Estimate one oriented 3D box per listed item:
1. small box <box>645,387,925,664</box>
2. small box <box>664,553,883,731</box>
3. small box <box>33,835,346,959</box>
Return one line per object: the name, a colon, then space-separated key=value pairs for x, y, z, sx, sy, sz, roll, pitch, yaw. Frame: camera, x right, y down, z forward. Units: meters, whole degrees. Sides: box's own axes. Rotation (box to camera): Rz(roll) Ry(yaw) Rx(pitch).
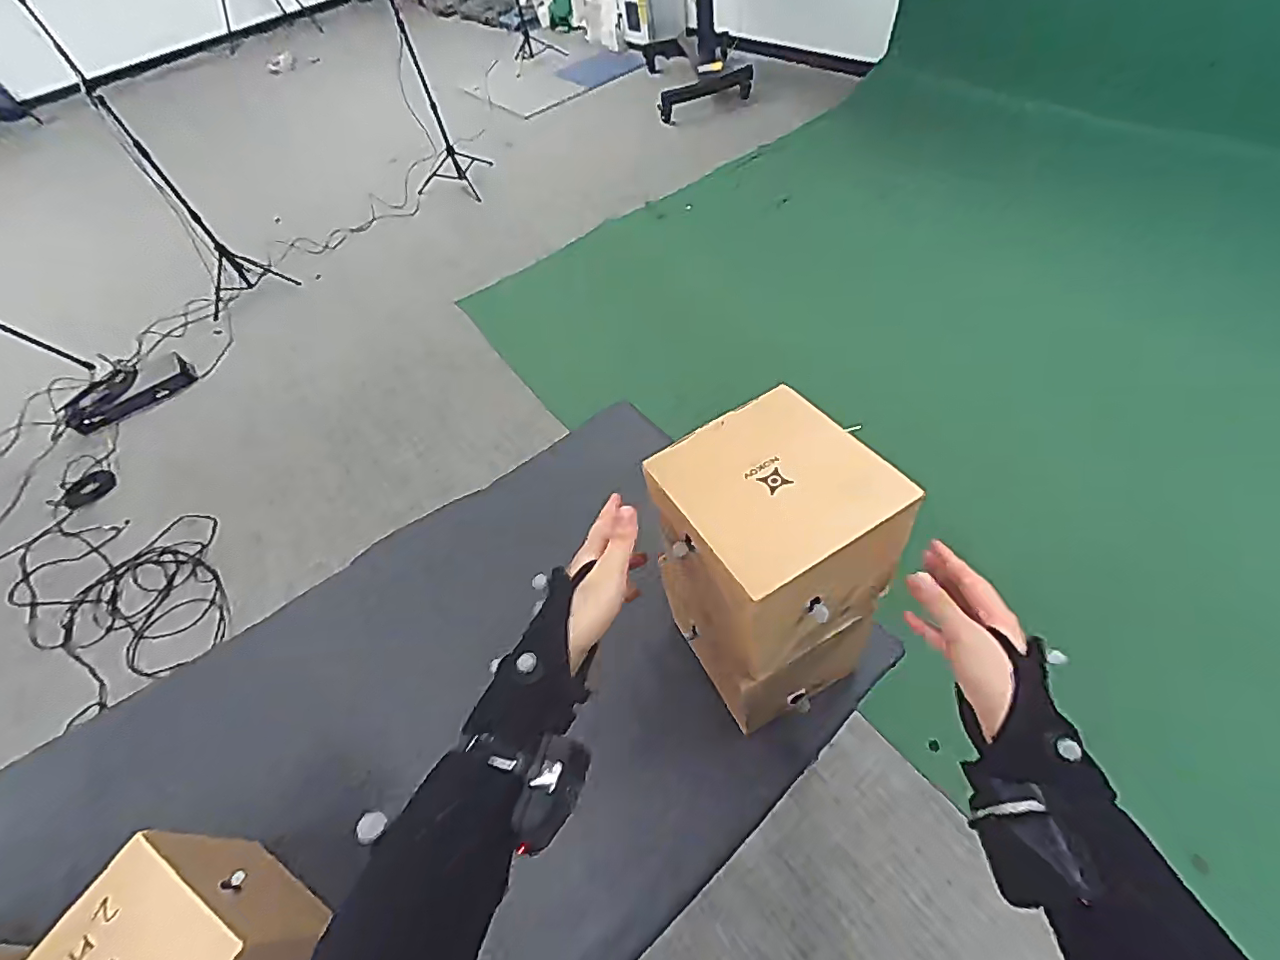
small box: x=0.129 y=0.050 z=0.515 sx=0.168 sy=0.176 sz=0.179 roll=-29 pitch=50 yaw=-11
small box: x=0.147 y=0.159 z=0.635 sx=0.168 sy=0.176 sz=0.179 roll=-28 pitch=51 yaw=-9
small box: x=-0.426 y=0.470 z=0.509 sx=0.179 sy=0.176 sz=0.168 roll=19 pitch=58 yaw=23
